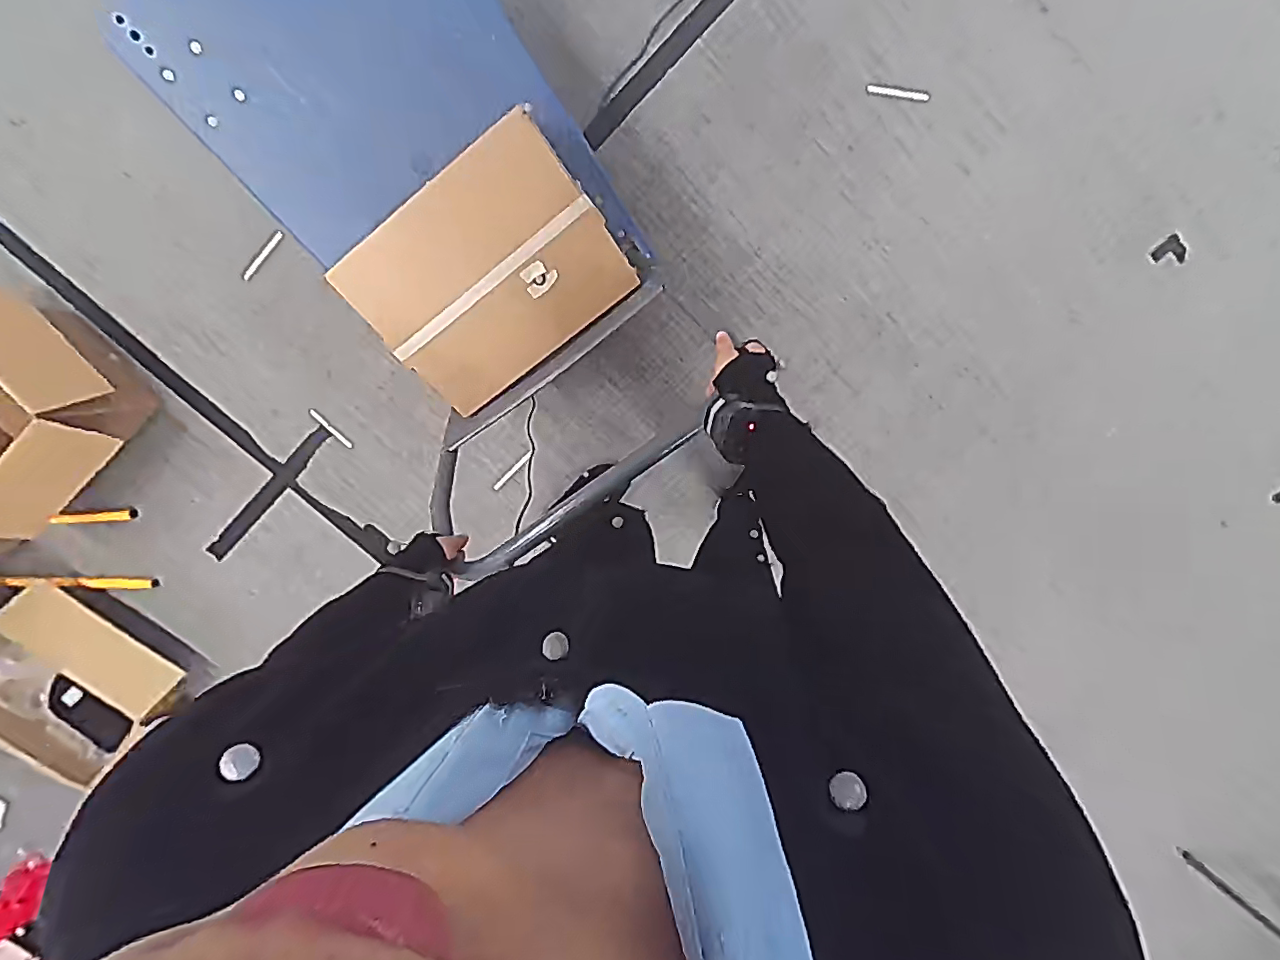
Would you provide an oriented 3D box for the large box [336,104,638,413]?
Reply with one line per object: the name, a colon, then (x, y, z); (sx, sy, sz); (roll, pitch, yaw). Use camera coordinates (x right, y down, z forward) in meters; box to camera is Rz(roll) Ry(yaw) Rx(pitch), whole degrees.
large box: (-0.272, -0.406, 1.026); (0.408, 0.320, 0.320); (-37, 120, 9)
